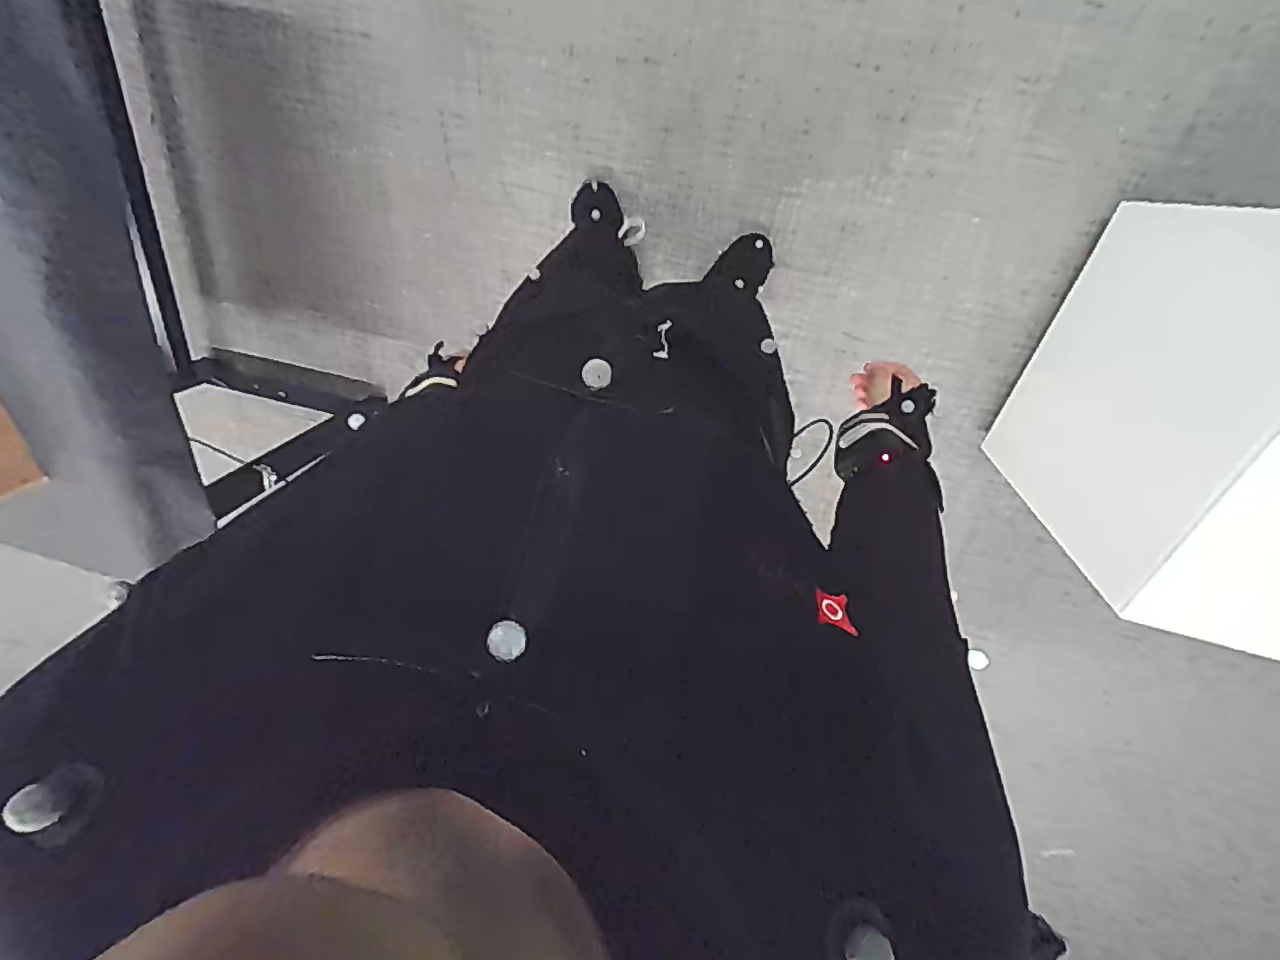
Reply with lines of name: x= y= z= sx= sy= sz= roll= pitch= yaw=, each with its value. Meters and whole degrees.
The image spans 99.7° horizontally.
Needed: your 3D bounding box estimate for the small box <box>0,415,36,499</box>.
small box: x=-1.018 y=-0.038 z=0.742 sx=0.168 sy=0.176 sz=0.179 roll=3 pitch=118 yaw=12
